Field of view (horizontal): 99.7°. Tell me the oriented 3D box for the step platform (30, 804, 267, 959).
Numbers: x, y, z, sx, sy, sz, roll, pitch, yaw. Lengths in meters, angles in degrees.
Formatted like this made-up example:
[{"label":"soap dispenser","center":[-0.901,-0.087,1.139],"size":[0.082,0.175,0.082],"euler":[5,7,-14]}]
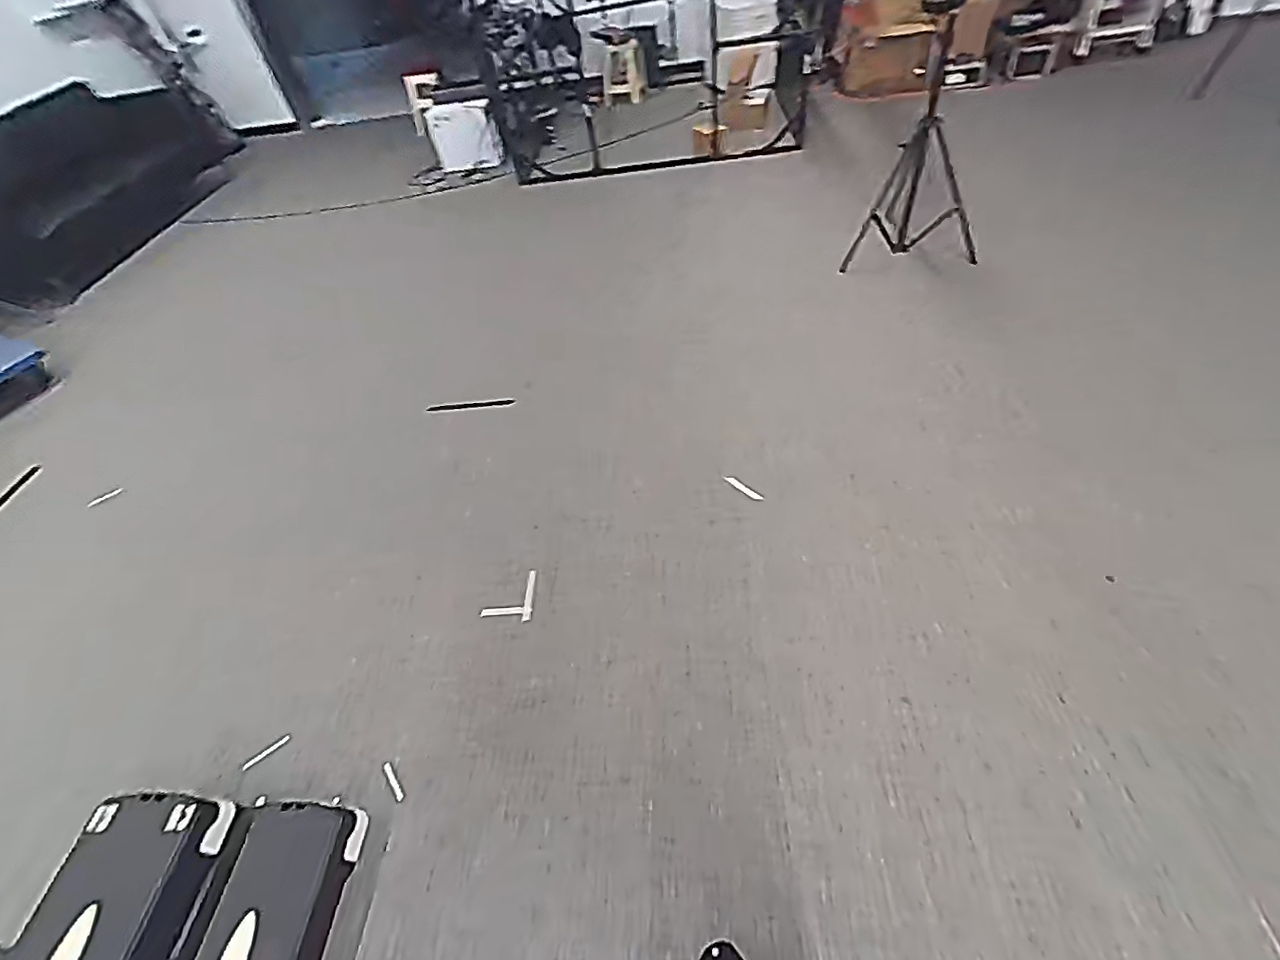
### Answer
[{"label":"step platform","center":[-1.076,1.050,1.086],"size":[0.286,0.204,0.684],"euler":[-4,47,6]}]
